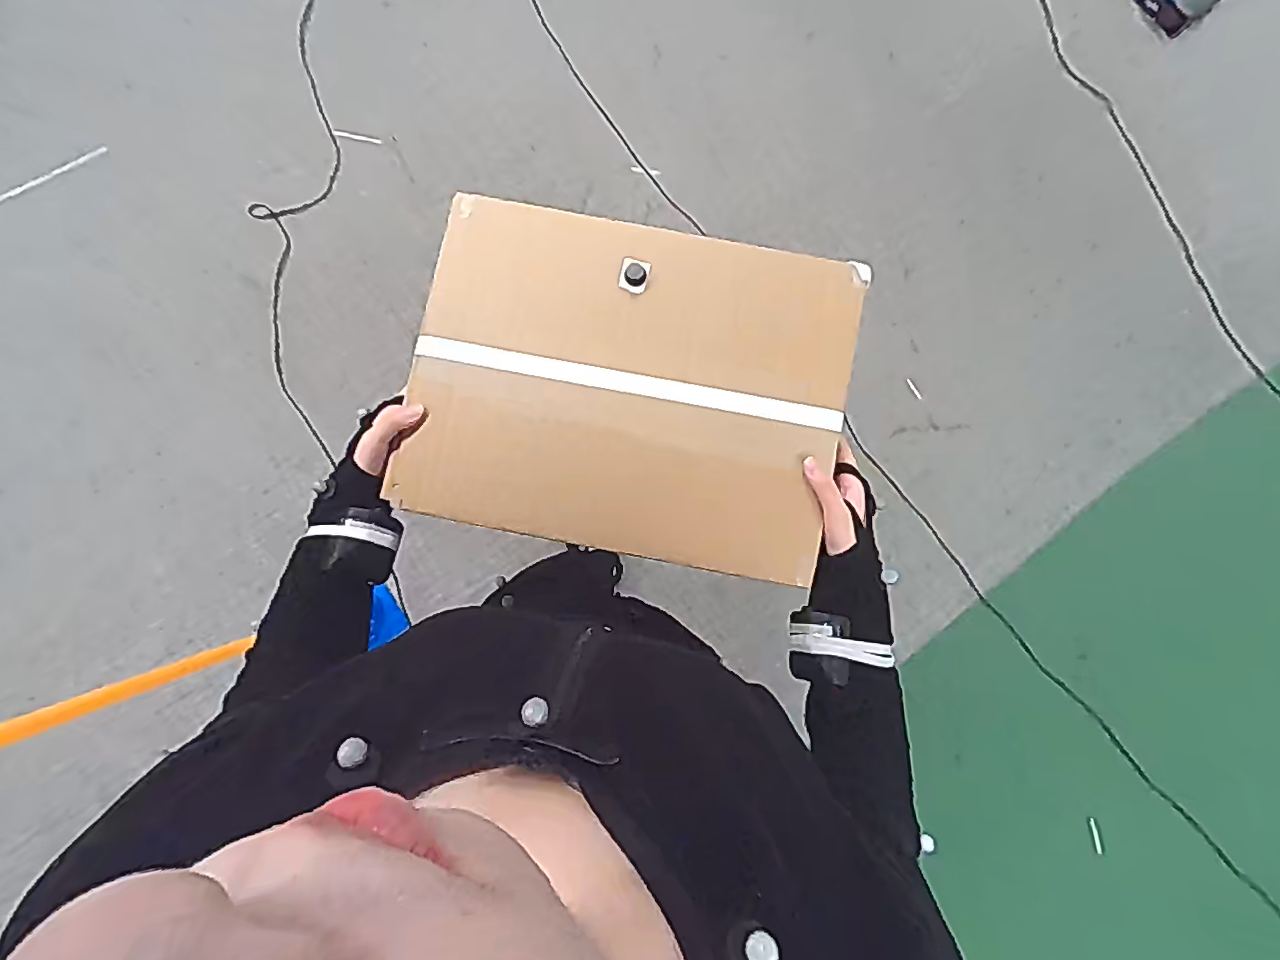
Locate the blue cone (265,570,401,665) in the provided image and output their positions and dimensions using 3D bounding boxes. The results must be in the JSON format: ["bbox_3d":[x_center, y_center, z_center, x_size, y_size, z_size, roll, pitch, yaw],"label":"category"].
[{"bbox_3d":[-0.718,0.330,1.228,0.193,0.380,0.192,-37,86,-9],"label":"blue cone"}]
